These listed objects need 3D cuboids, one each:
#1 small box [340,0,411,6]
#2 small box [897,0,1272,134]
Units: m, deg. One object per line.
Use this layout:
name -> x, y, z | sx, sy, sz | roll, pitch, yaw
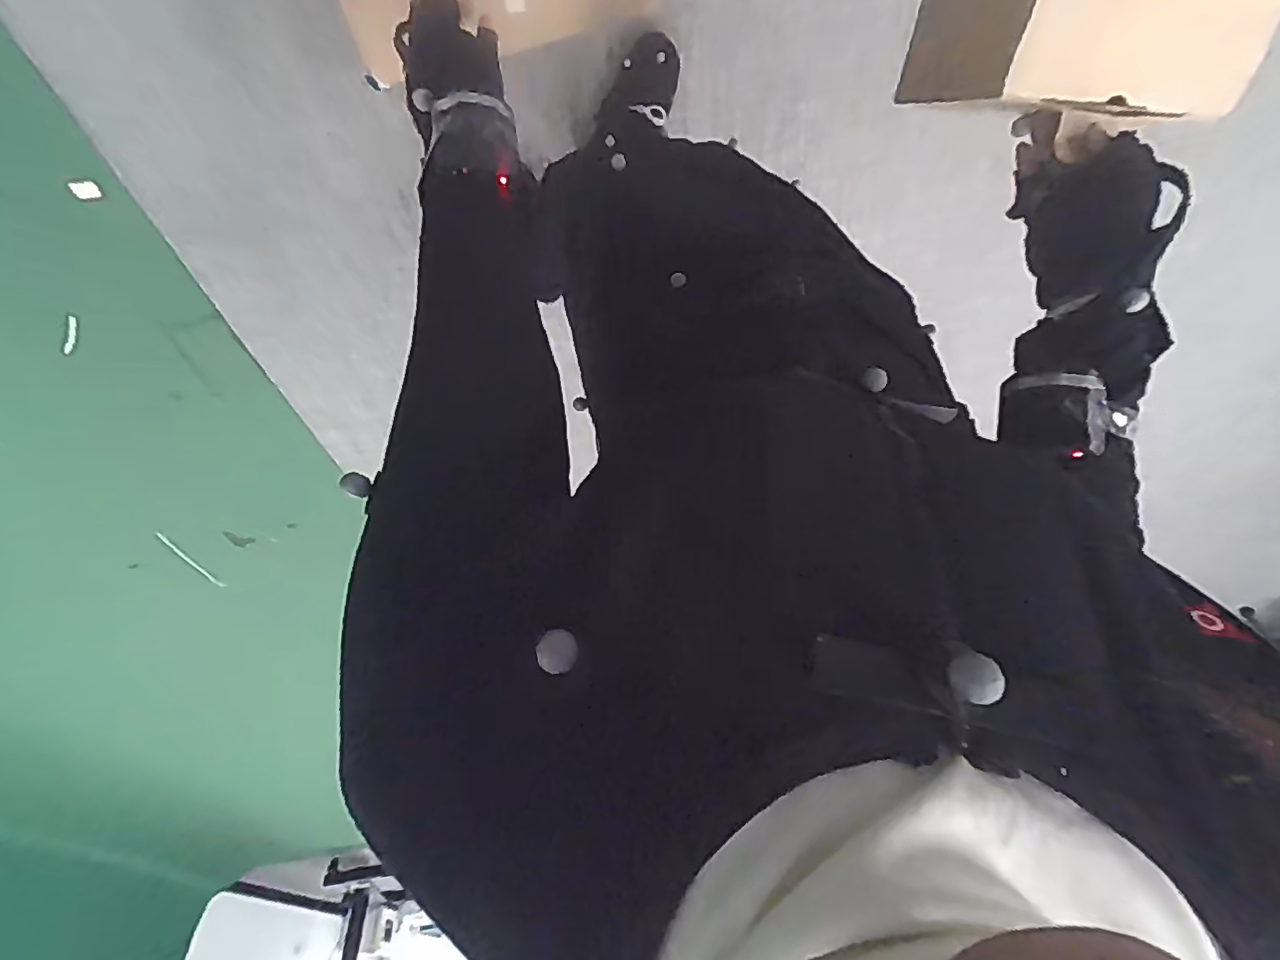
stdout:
small box -> -0.179, -0.509, 0.434 | 0.168, 0.176, 0.179 | -9, 131, 2
small box -> 0.317, -0.366, 0.395 | 0.168, 0.176, 0.179 | 2, 124, -4
